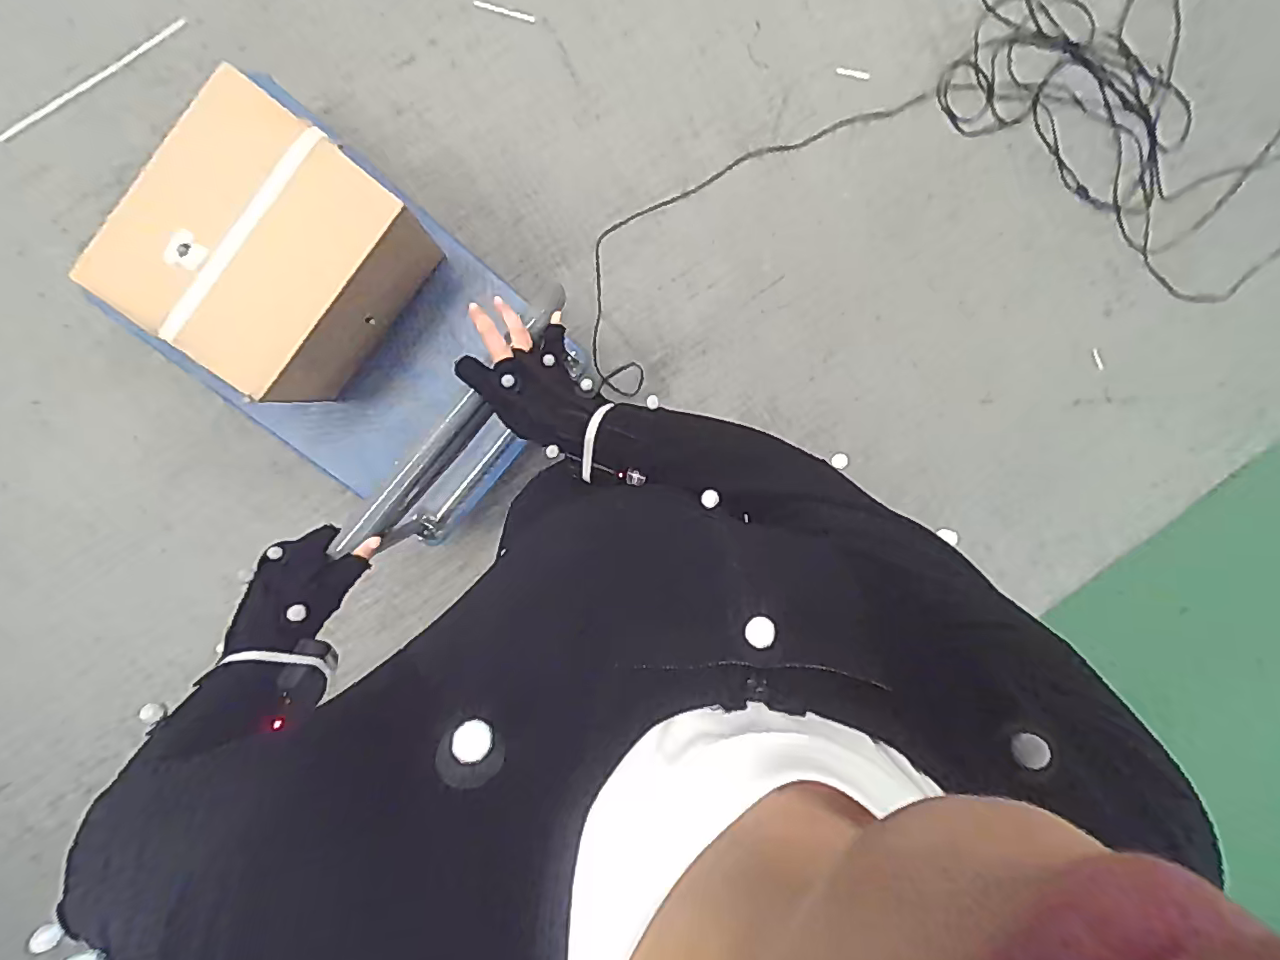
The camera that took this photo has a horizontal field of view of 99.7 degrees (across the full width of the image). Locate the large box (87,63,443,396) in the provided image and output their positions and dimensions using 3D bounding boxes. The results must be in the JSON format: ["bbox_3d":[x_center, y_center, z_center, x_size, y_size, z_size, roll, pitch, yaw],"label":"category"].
[{"bbox_3d":[-0.632,-0.407,0.993,0.320,0.320,0.408,37,93,-11],"label":"large box"}]
